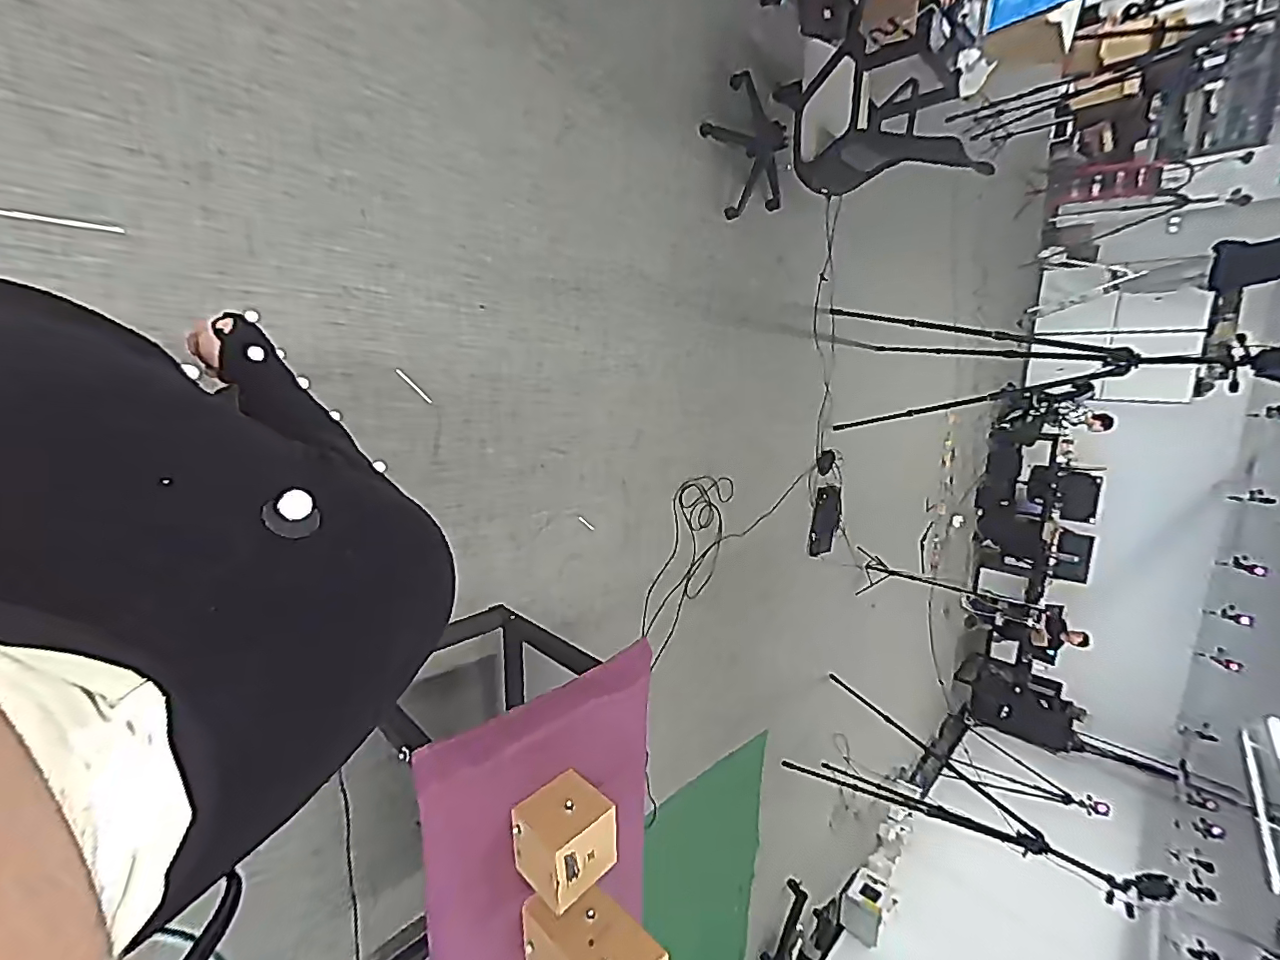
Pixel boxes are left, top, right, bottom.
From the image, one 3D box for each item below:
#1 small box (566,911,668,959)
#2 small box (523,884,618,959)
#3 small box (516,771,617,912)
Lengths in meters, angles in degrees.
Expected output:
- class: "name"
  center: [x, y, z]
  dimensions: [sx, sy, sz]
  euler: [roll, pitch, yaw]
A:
- class: "small box"
  center: [-0.052, 1.116, 1.200]
  dimensions: [0.168, 0.176, 0.179]
  euler: [-14, 108, -43]
- class: "small box"
  center: [-0.169, 1.096, 1.313]
  dimensions: [0.168, 0.176, 0.179]
  euler: [-14, 108, -44]
- class: "small box"
  center: [-0.174, 0.820, 1.248]
  dimensions: [0.179, 0.176, 0.168]
  euler: [-14, 108, -45]
